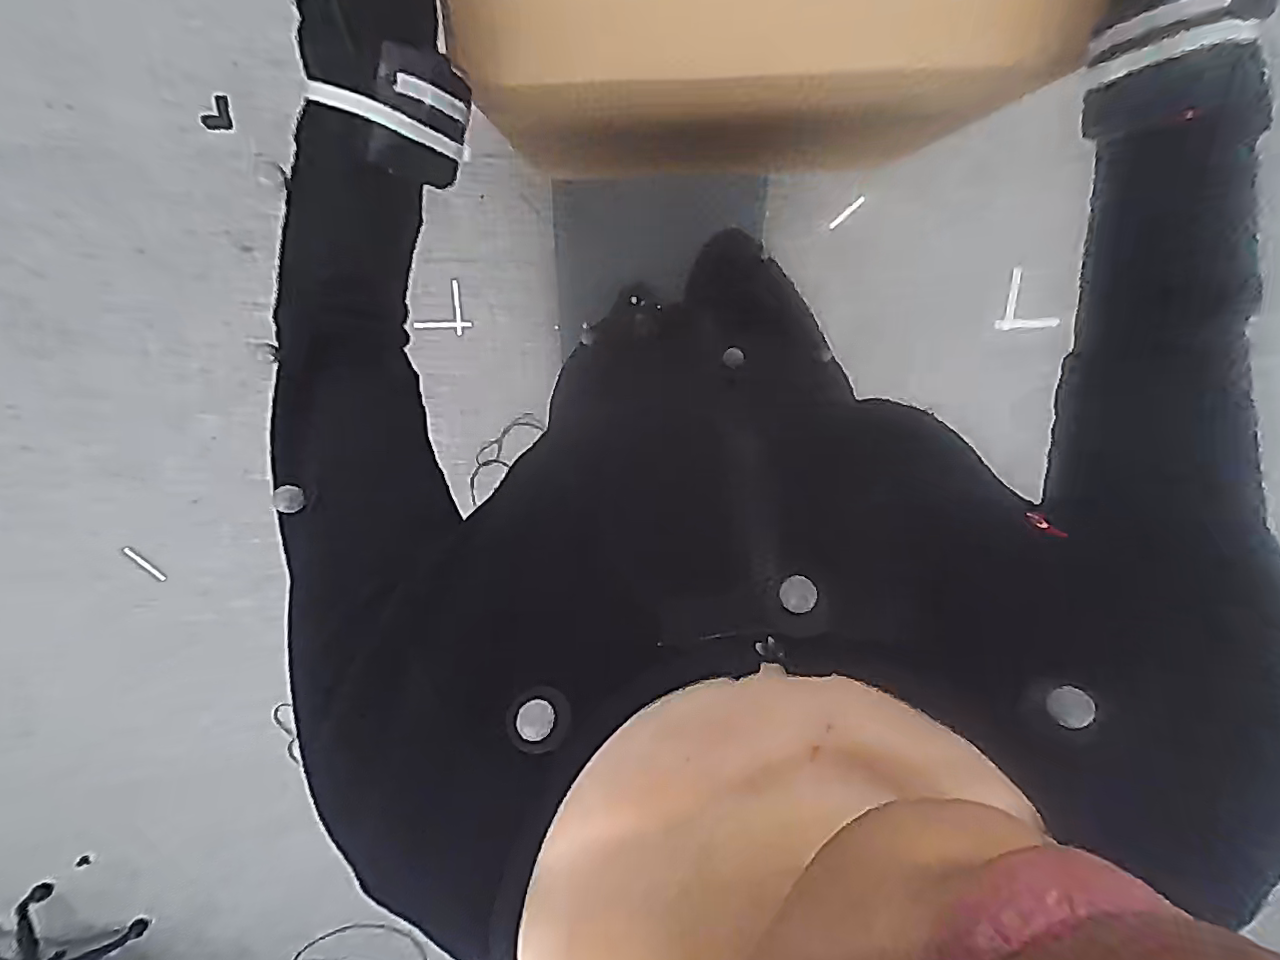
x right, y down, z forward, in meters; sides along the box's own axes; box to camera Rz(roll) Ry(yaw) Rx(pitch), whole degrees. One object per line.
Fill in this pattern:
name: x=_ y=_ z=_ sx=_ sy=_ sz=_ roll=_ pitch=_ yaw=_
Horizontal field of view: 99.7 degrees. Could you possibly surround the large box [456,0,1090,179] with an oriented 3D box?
large box: x=0.075 y=-0.458 z=0.441 sx=0.408 sy=0.320 sz=0.320 roll=-2 pitch=109 yaw=0
